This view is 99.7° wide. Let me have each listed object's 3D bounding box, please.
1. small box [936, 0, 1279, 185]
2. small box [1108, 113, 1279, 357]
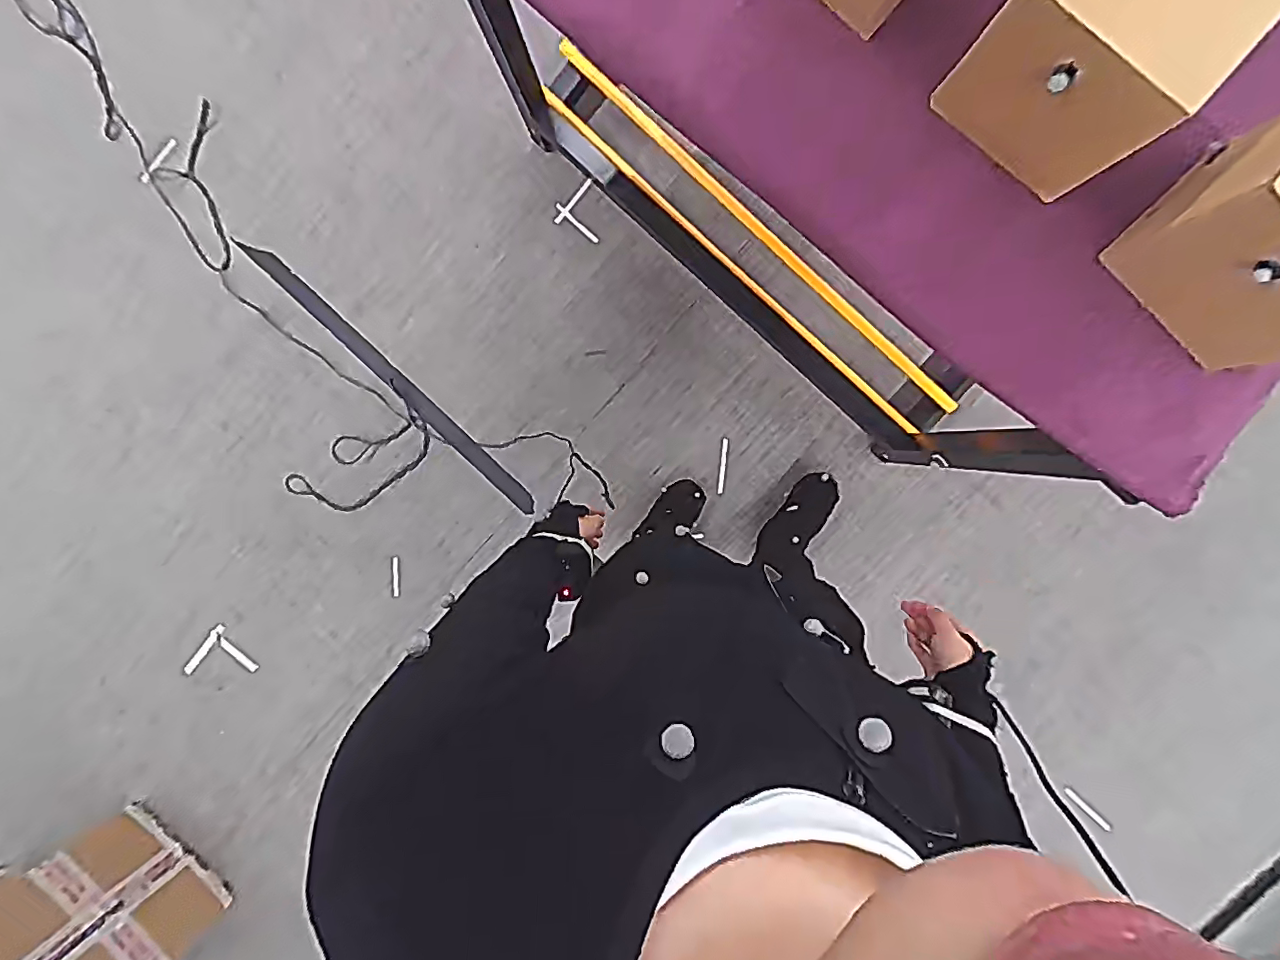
[{"bbox_3d":[0.432,-0.417,0.509,0.179,0.176,0.168,40,95,0],"label":"small box"},{"bbox_3d":[0.614,-0.238,0.509,0.168,0.176,0.179,-44,91,4],"label":"small box"}]
